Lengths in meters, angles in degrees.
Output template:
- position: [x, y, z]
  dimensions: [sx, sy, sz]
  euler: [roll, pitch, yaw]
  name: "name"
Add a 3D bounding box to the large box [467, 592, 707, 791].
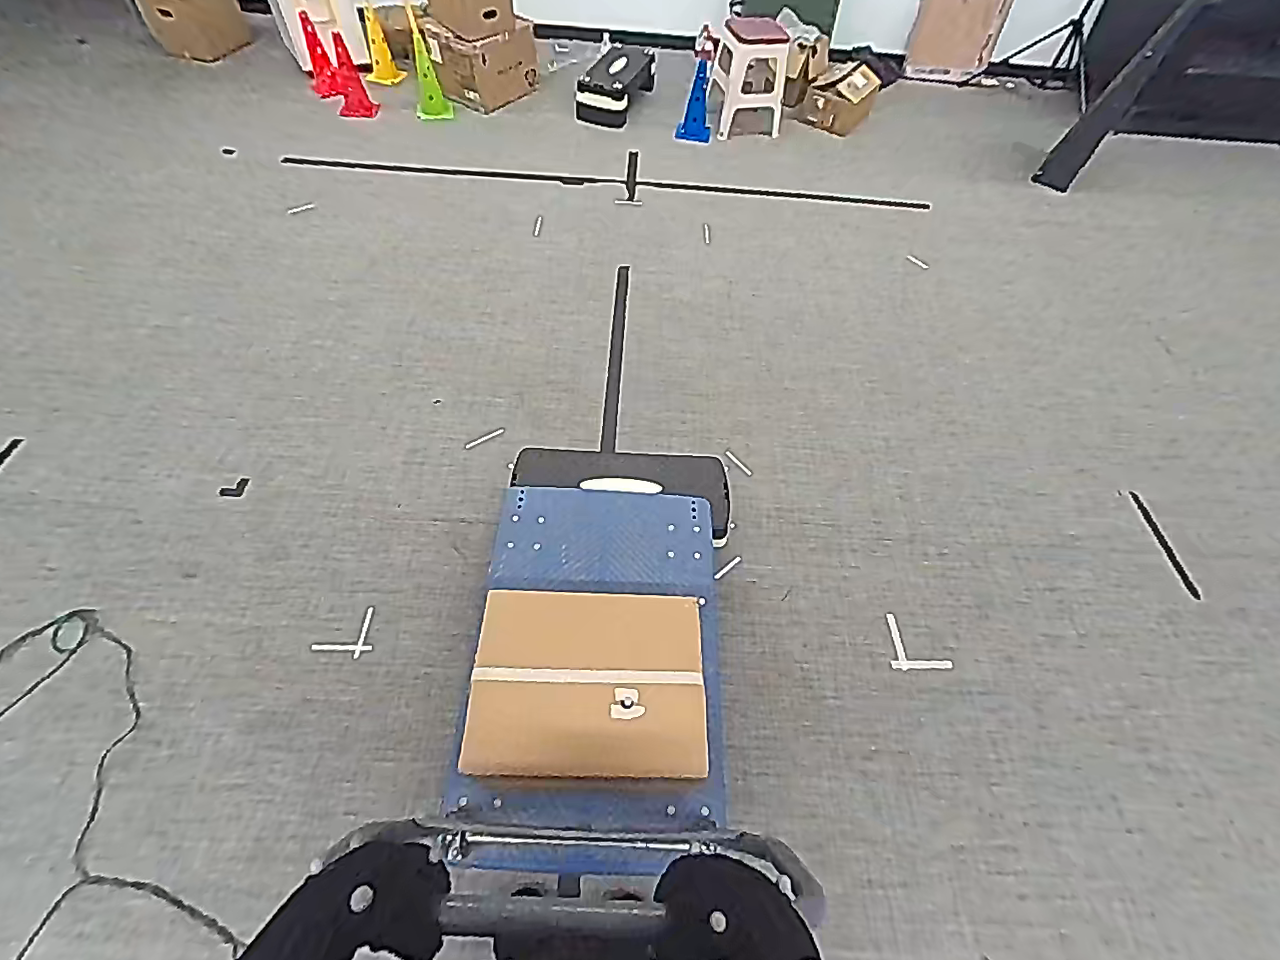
- position: [-0.100, 0.435, 1.093]
  dimensions: [0.408, 0.320, 0.320]
  euler: [3, 56, -4]
  name: "large box"
